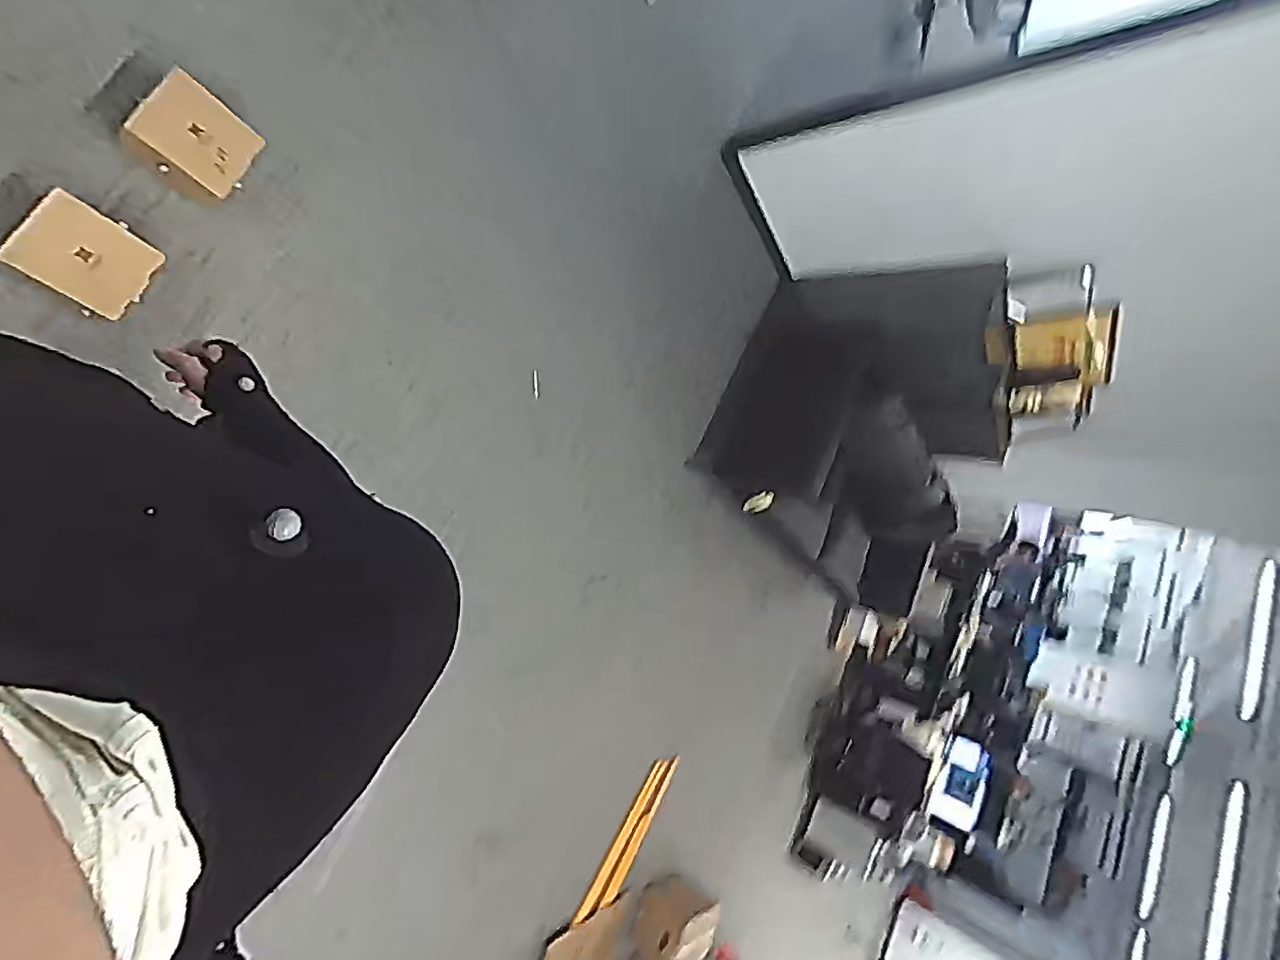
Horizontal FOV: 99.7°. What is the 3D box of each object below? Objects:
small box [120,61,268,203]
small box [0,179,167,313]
[{"bbox_3d":[-0.942,-0.719,1.141,0.179,0.176,0.168,42,69,-46],"label":"small box"},{"bbox_3d":[-1.089,-0.442,1.056,0.179,0.176,0.168,41,69,-47],"label":"small box"}]
